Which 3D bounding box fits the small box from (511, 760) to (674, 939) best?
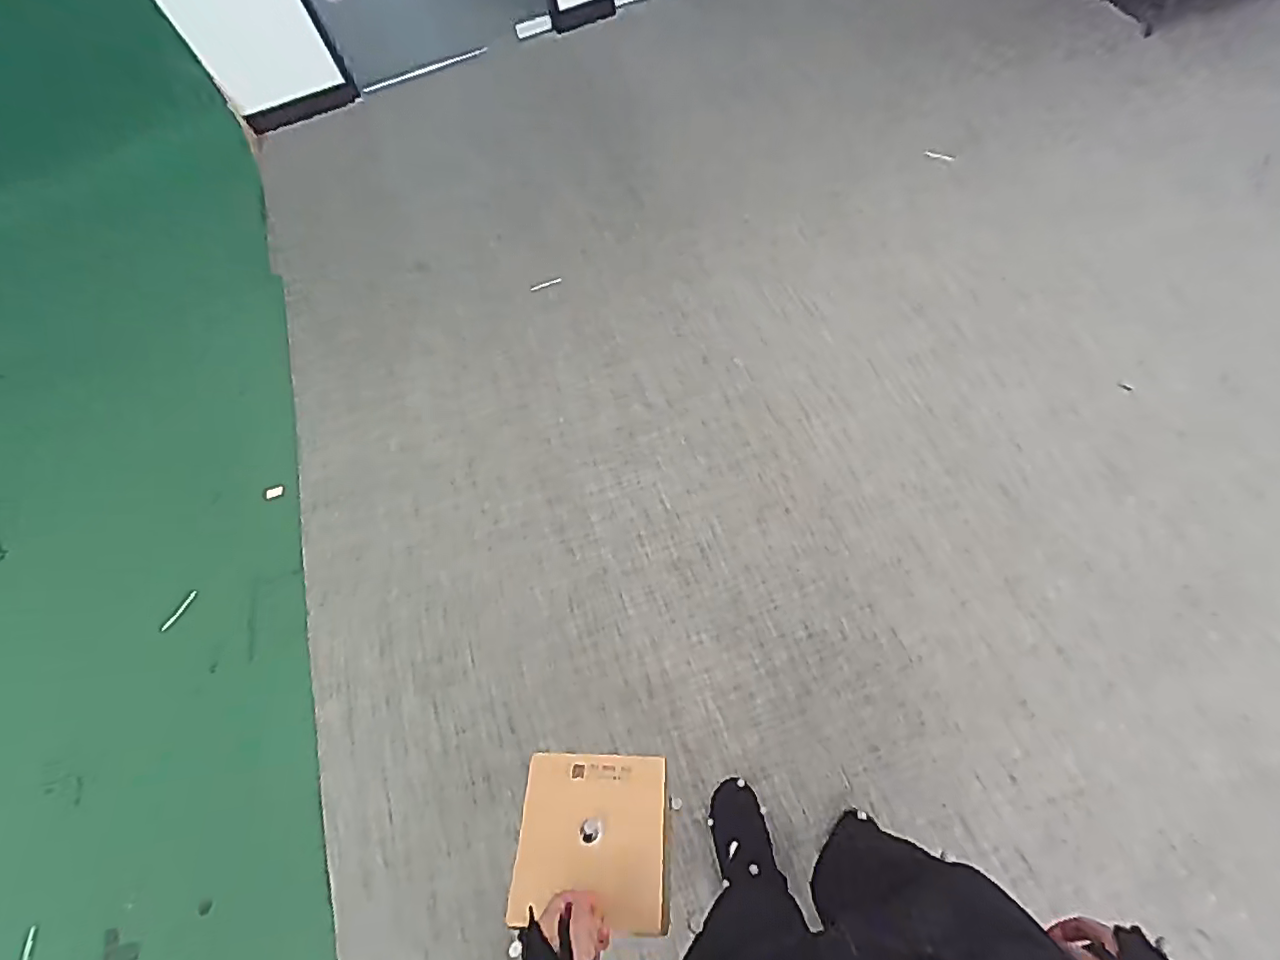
[{"bbox_3d":[-0.046,0.454,0.667,0.168,0.179,0.176,-3,51,6],"label":"small box"}]
